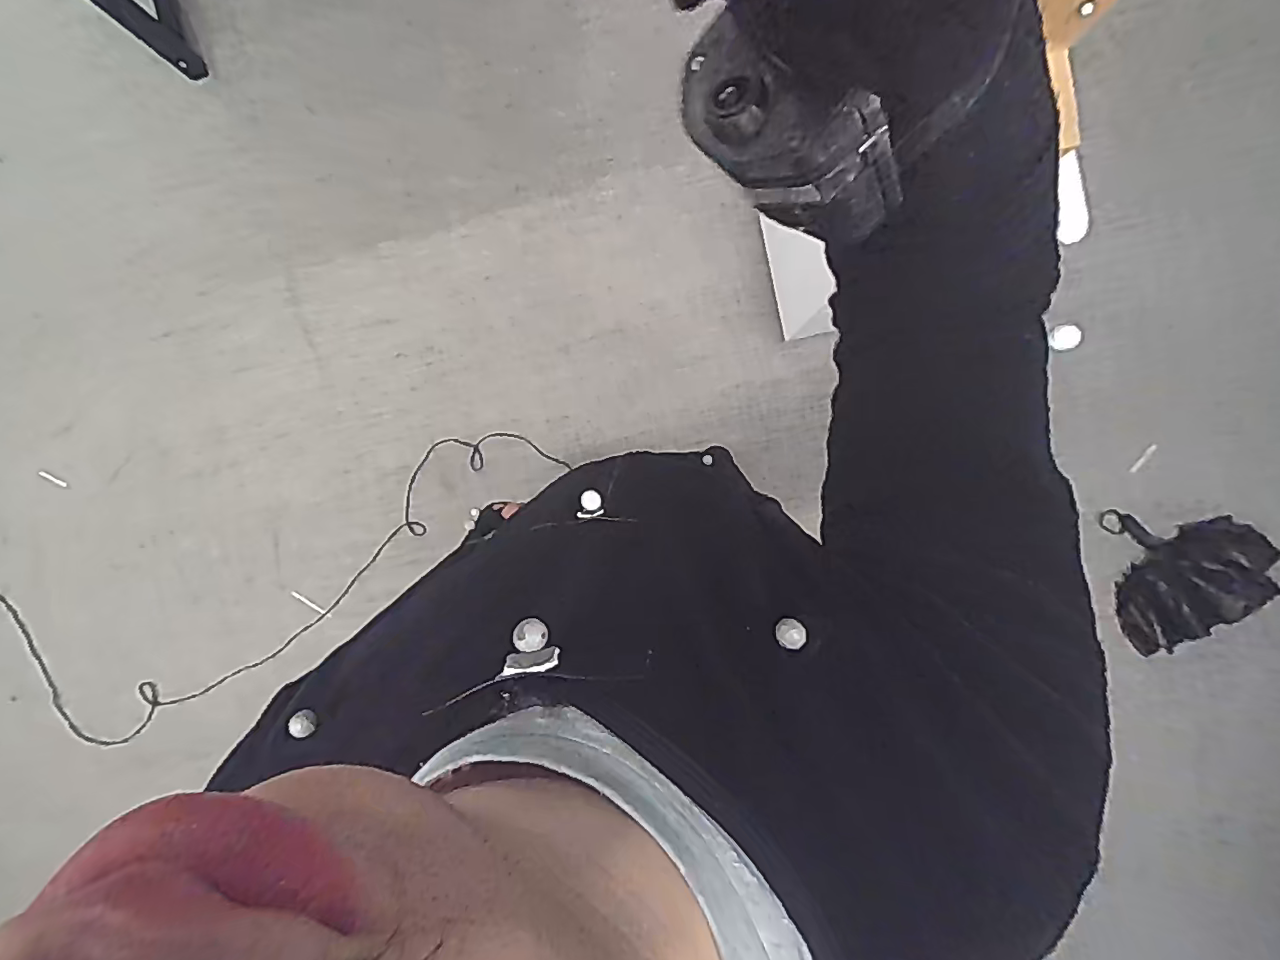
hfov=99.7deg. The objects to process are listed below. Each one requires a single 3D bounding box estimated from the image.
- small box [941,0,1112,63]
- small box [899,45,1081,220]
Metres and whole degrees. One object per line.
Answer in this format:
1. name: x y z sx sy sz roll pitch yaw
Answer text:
1. small box: 0.494 -0.658 0.665 0.168 0.176 0.179 -10 91 3
2. small box: 0.522 -0.533 0.831 0.168 0.176 0.179 -10 92 4
